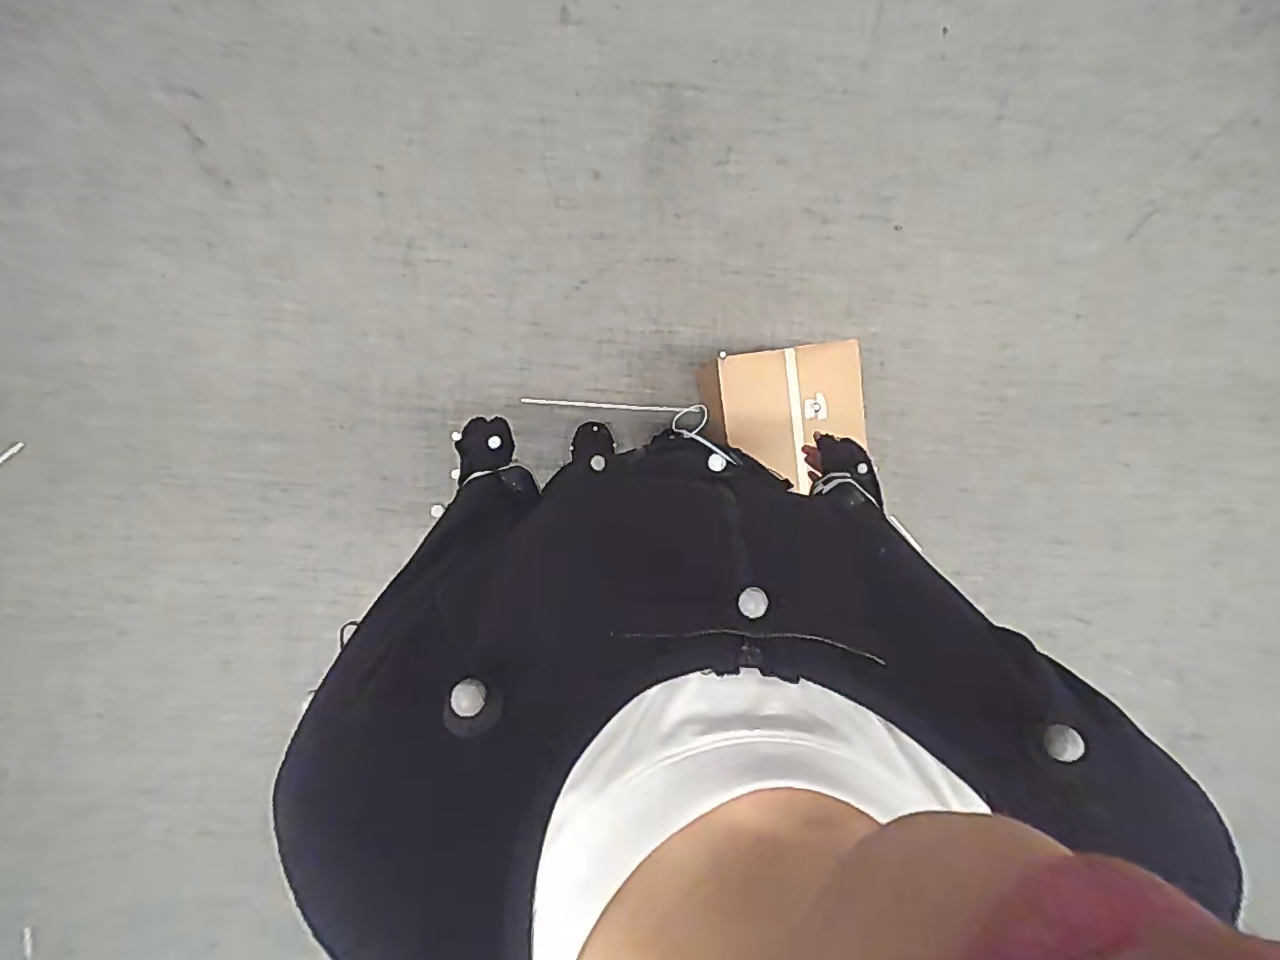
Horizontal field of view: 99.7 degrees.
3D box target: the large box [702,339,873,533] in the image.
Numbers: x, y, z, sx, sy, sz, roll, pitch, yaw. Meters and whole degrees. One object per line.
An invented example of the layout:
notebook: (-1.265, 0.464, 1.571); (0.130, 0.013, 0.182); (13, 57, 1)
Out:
large box: (0.349, -0.110, 1.359); (0.320, 0.320, 0.408); (-8, 96, -2)
